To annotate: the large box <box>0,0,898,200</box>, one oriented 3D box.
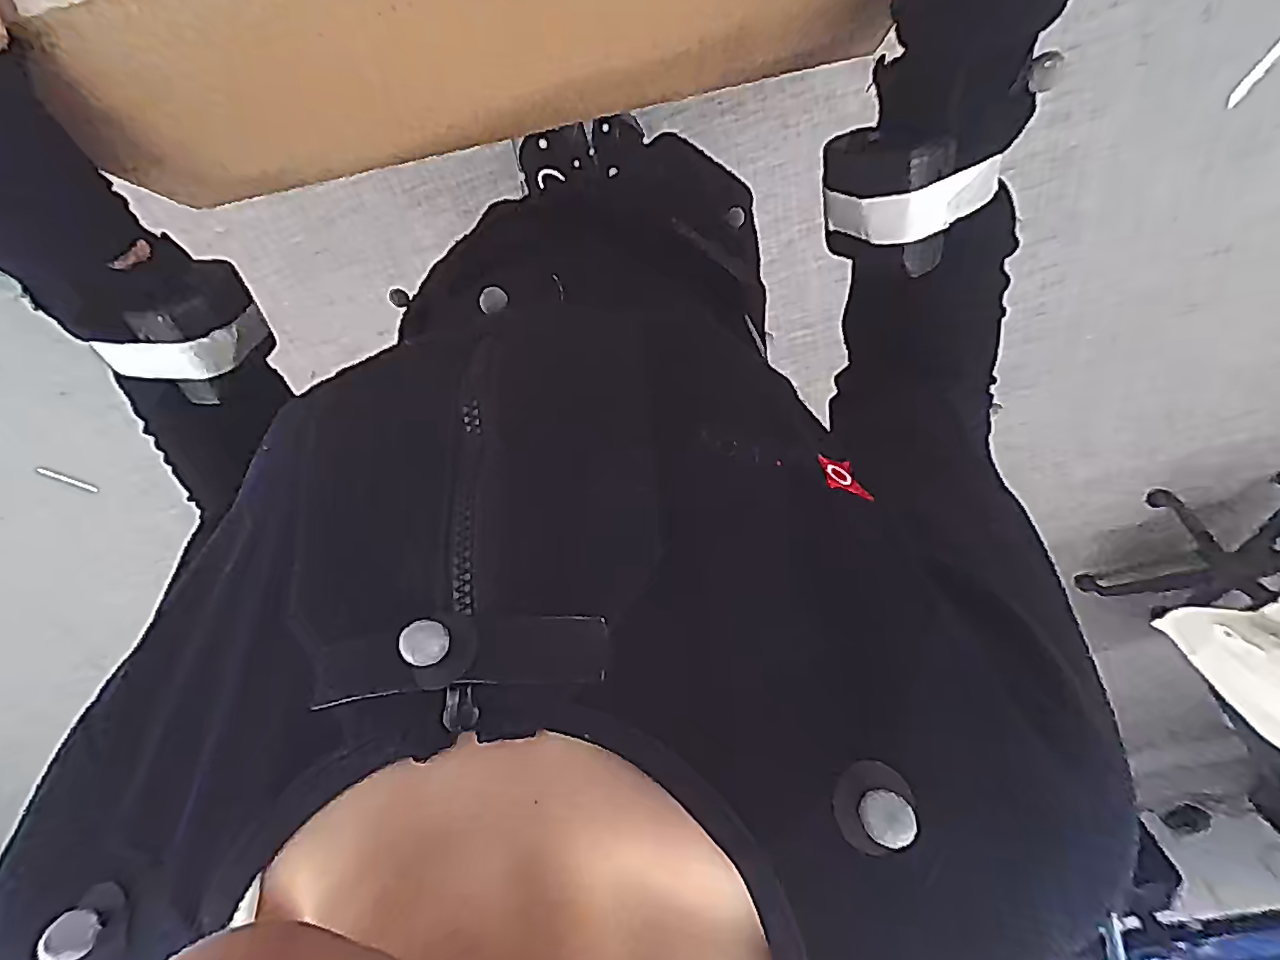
[{"bbox_3d":[-0.103,-0.334,0.147,0.408,0.320,0.320,-10,97,4],"label":"large box"}]
